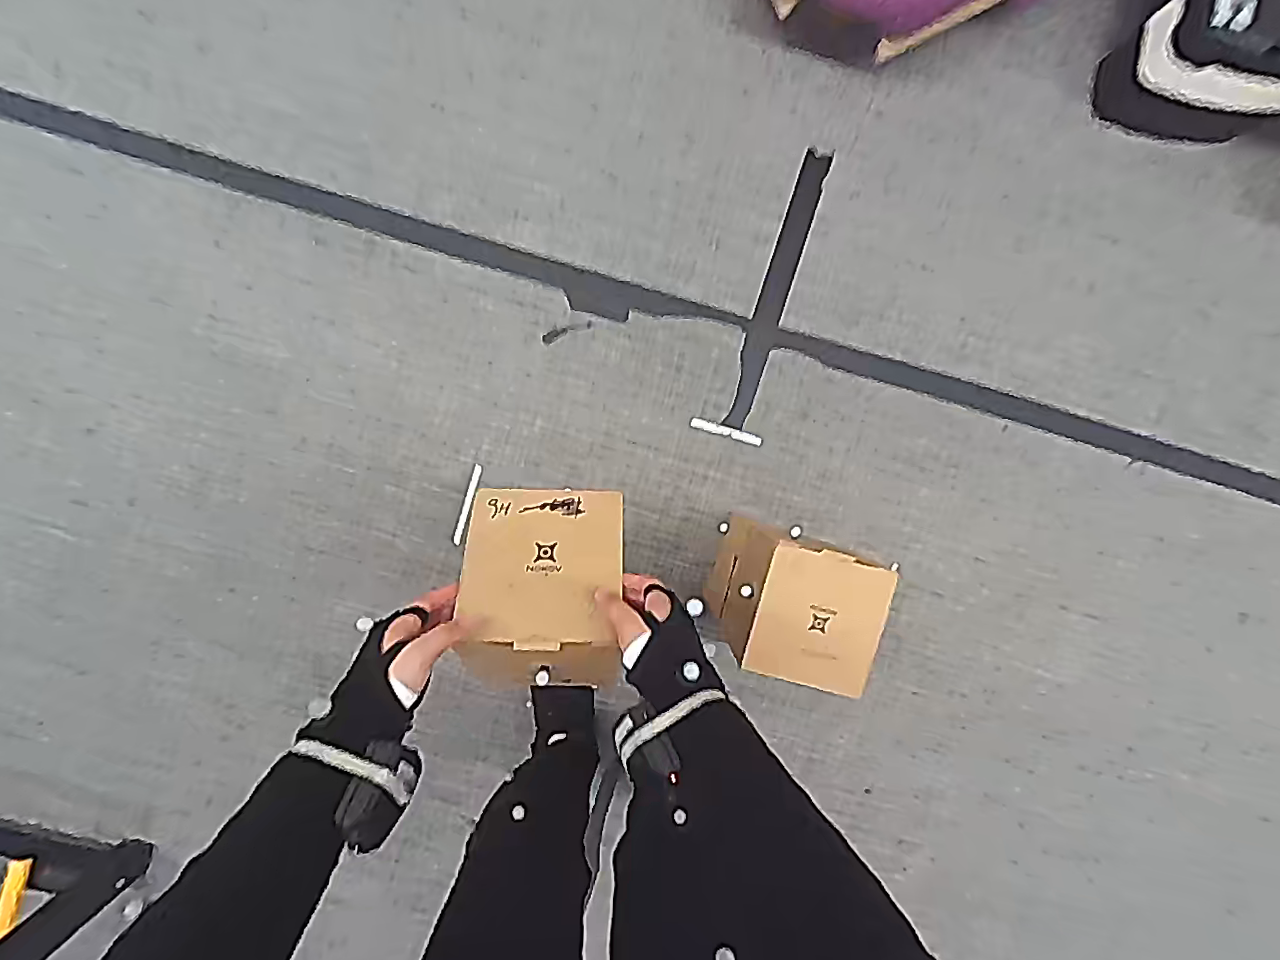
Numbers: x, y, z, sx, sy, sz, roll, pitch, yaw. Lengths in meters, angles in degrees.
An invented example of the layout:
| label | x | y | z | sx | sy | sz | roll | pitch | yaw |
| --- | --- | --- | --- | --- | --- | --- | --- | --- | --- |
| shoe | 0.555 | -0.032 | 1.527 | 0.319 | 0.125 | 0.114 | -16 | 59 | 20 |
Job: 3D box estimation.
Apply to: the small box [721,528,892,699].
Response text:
| label | x | y | z | sx | sy | sz | roll | pitch | yaw |
| --- | --- | --- | --- | --- | --- | --- | --- | --- | --- |
| small box | 0.225 | 0.177 | 0.777 | 0.168 | 0.176 | 0.179 | 15 | 94 | -2 |

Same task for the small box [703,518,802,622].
| label | x | y | z | sx | sy | sz | roll | pitch | yaw |
| --- | --- | --- | --- | --- | --- | --- | --- | --- | --- |
| small box | 0.222 | 0.171 | 0.940 | 0.179 | 0.176 | 0.168 | 20 | 92 | -4 |
